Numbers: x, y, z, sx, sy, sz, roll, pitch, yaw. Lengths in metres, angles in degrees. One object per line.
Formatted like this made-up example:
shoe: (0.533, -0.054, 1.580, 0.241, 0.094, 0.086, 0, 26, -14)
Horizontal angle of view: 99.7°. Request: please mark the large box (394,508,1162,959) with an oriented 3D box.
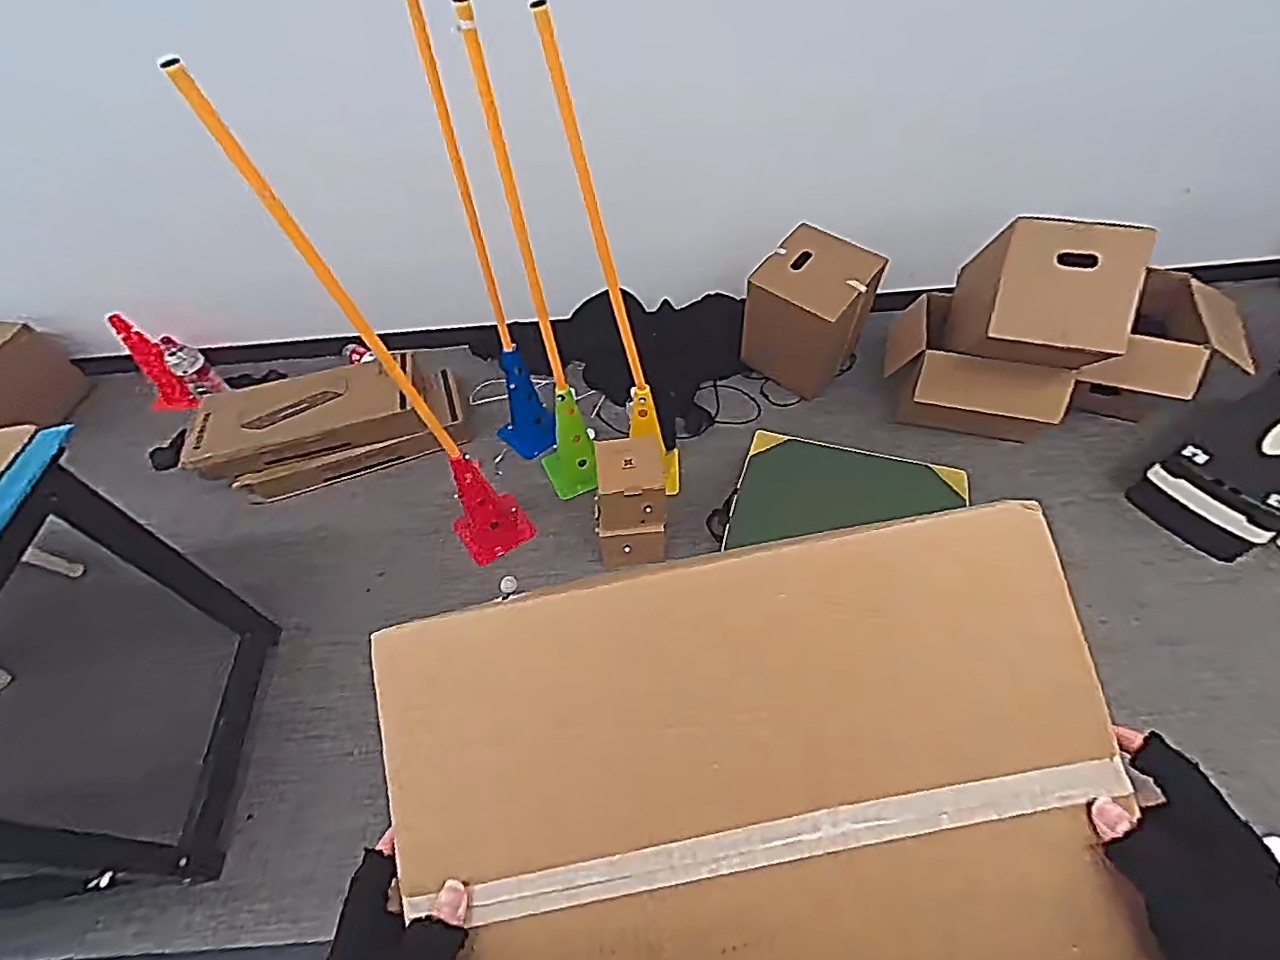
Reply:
large box: (0.075, 0.230, 0.459, 0.408, 0.320, 0.320, -12, 82, 1)
